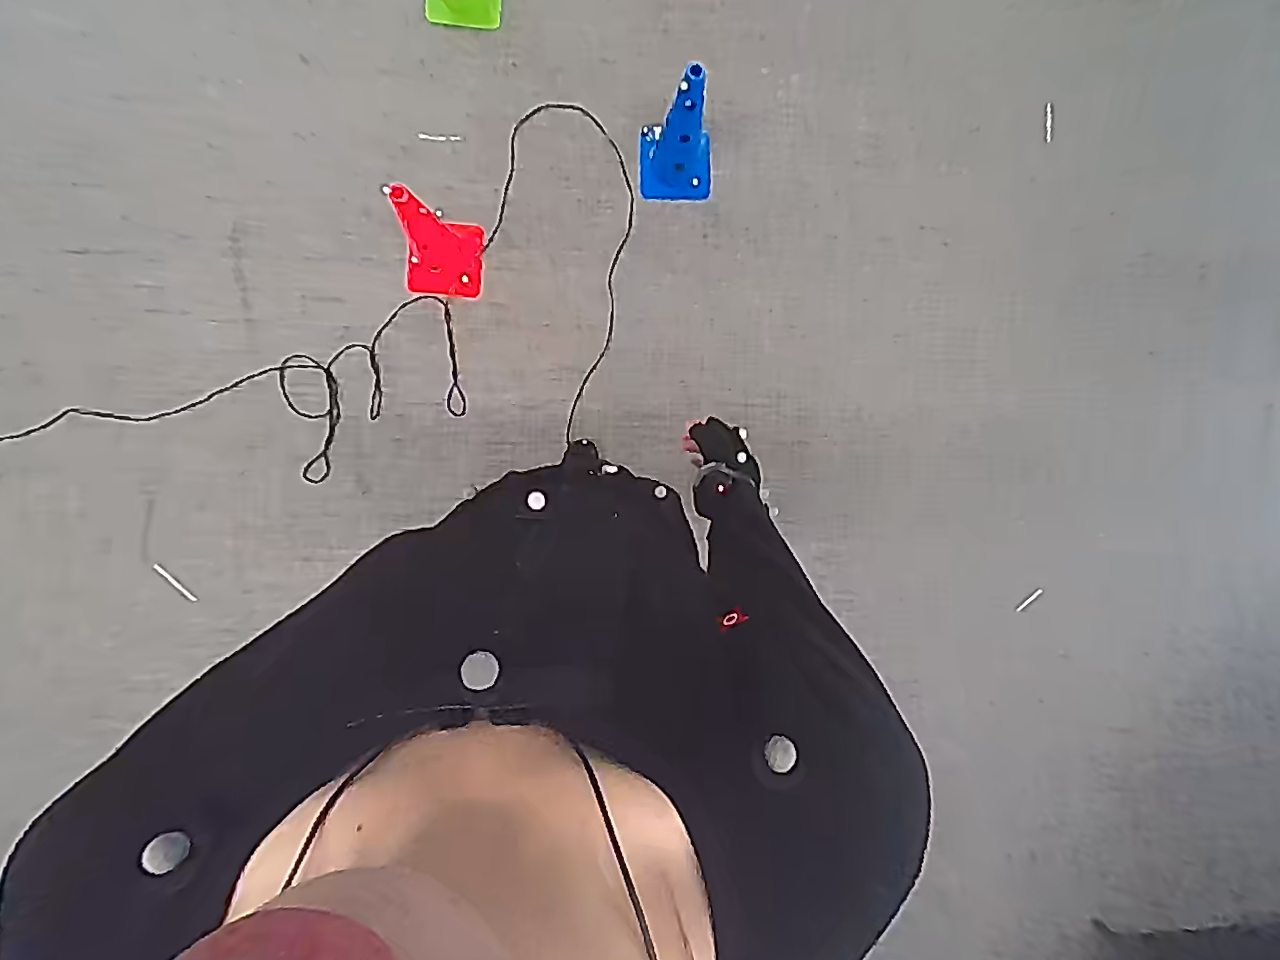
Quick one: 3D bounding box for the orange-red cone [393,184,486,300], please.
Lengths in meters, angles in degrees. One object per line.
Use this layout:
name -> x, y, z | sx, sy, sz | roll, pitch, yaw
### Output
orange-red cone -> -0.511, -0.599, 1.297 | 0.198, 0.360, 0.199 | 5, 89, -5

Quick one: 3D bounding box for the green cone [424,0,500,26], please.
green cone -> -0.469, -1.329, 1.287 | 0.200, 0.368, 0.202 | 2, 92, -3
